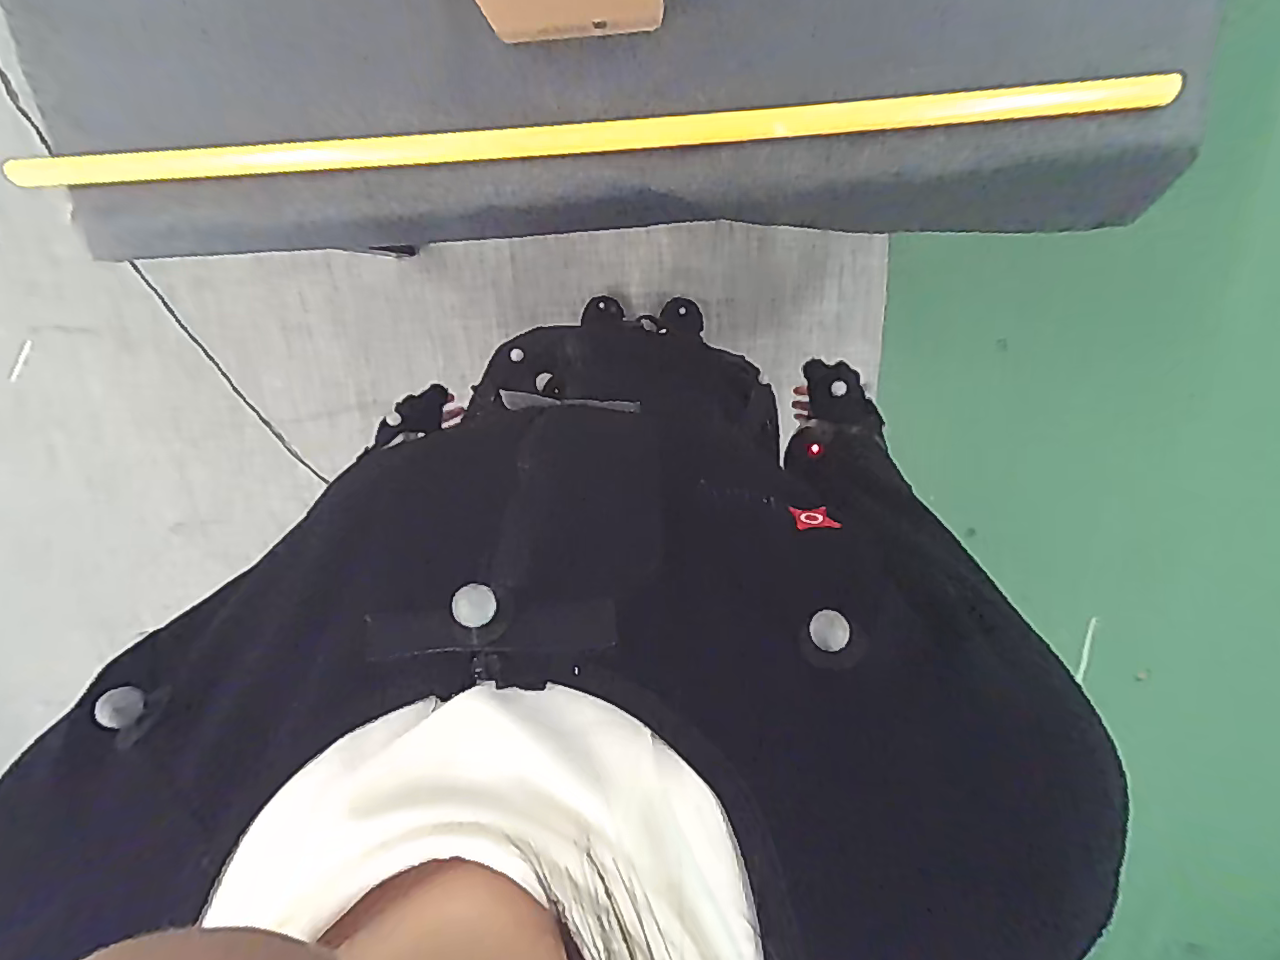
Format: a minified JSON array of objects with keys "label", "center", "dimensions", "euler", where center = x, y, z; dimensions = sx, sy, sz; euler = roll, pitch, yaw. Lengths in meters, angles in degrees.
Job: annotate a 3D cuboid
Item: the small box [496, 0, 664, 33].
[{"label":"small box","center":[-0.065,-0.514,0.441],"dimensions":[0.168,0.176,0.179],"euler":[-2,108,5]}]
